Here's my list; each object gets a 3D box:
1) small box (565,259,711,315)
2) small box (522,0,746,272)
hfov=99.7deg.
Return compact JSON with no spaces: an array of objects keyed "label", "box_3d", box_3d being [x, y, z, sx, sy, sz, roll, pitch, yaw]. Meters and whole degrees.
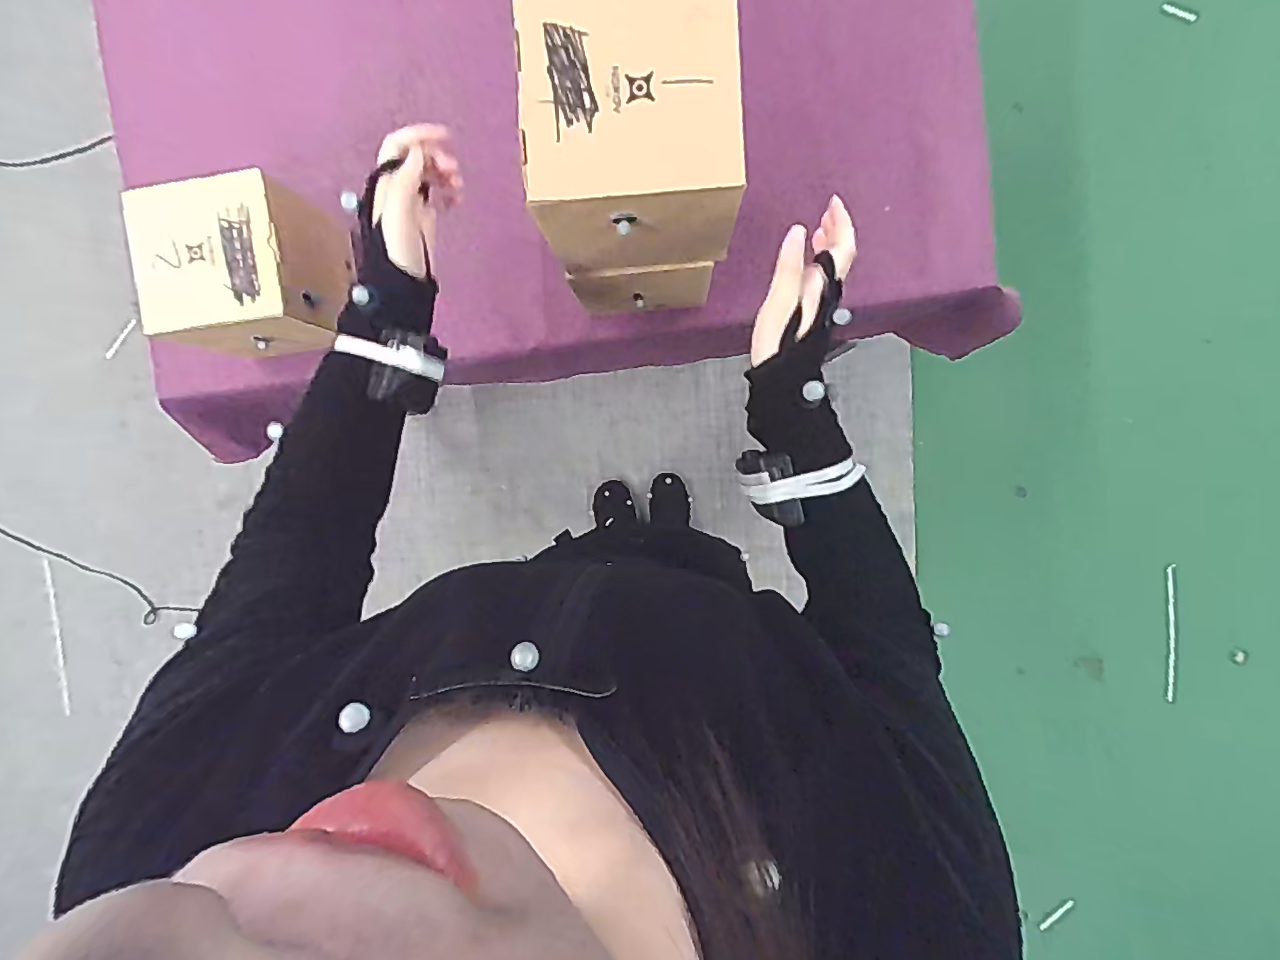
[{"label":"small box","box_3d":[-0.001,-0.311,0.673,0.168,0.176,0.179,-3,93,3]},{"label":"small box","box_3d":[-0.001,-0.306,0.507,0.179,0.176,0.168,-3,93,2]}]
